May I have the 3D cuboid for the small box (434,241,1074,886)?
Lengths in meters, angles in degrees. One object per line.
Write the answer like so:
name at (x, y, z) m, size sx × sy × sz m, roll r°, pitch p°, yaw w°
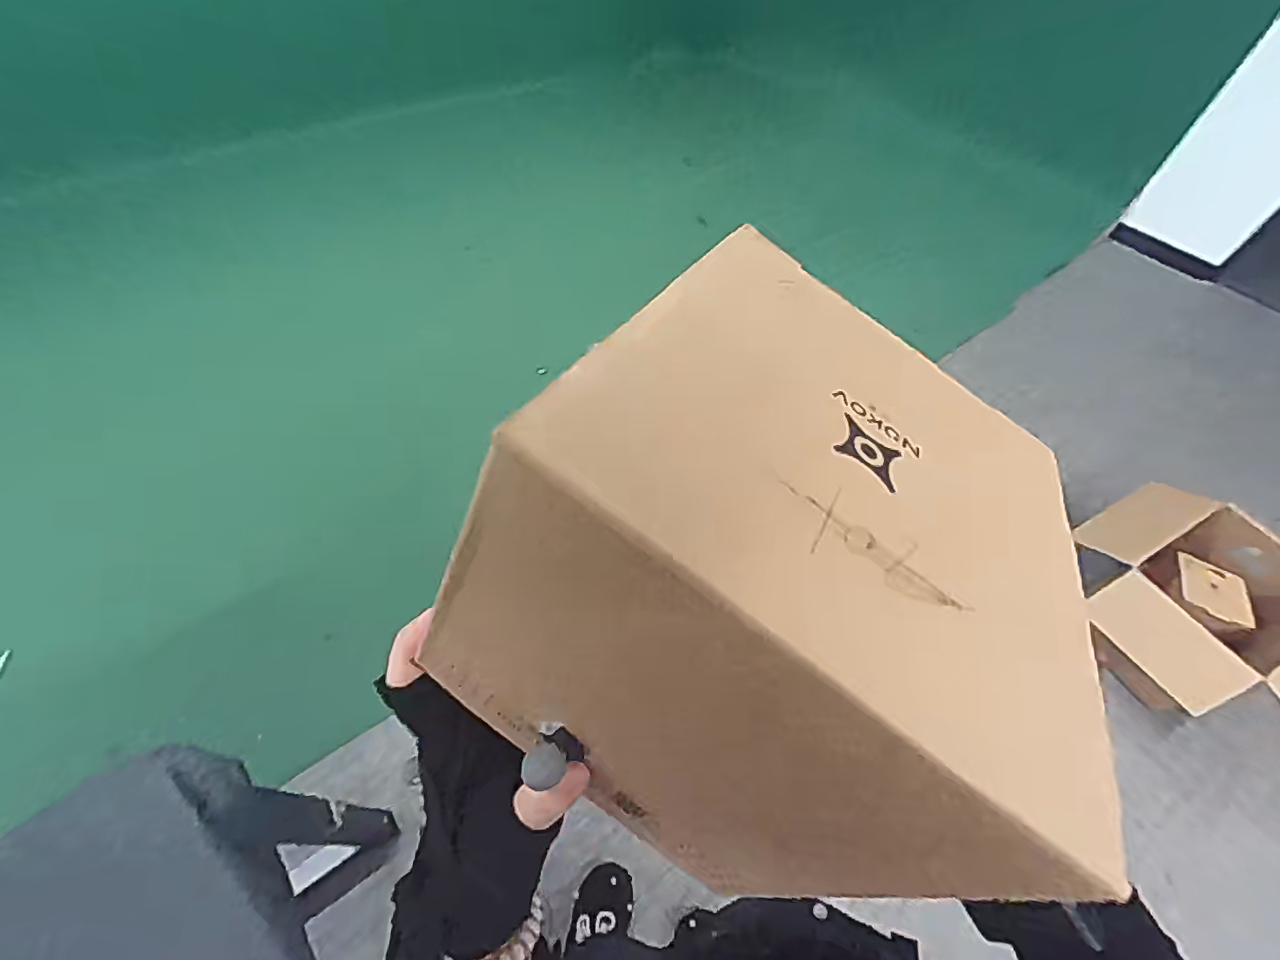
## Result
small box at (0.034, 0.036, 0.236) m, size 0.168 × 0.176 × 0.179 m, roll 36°, pitch 46°, yaw 2°
